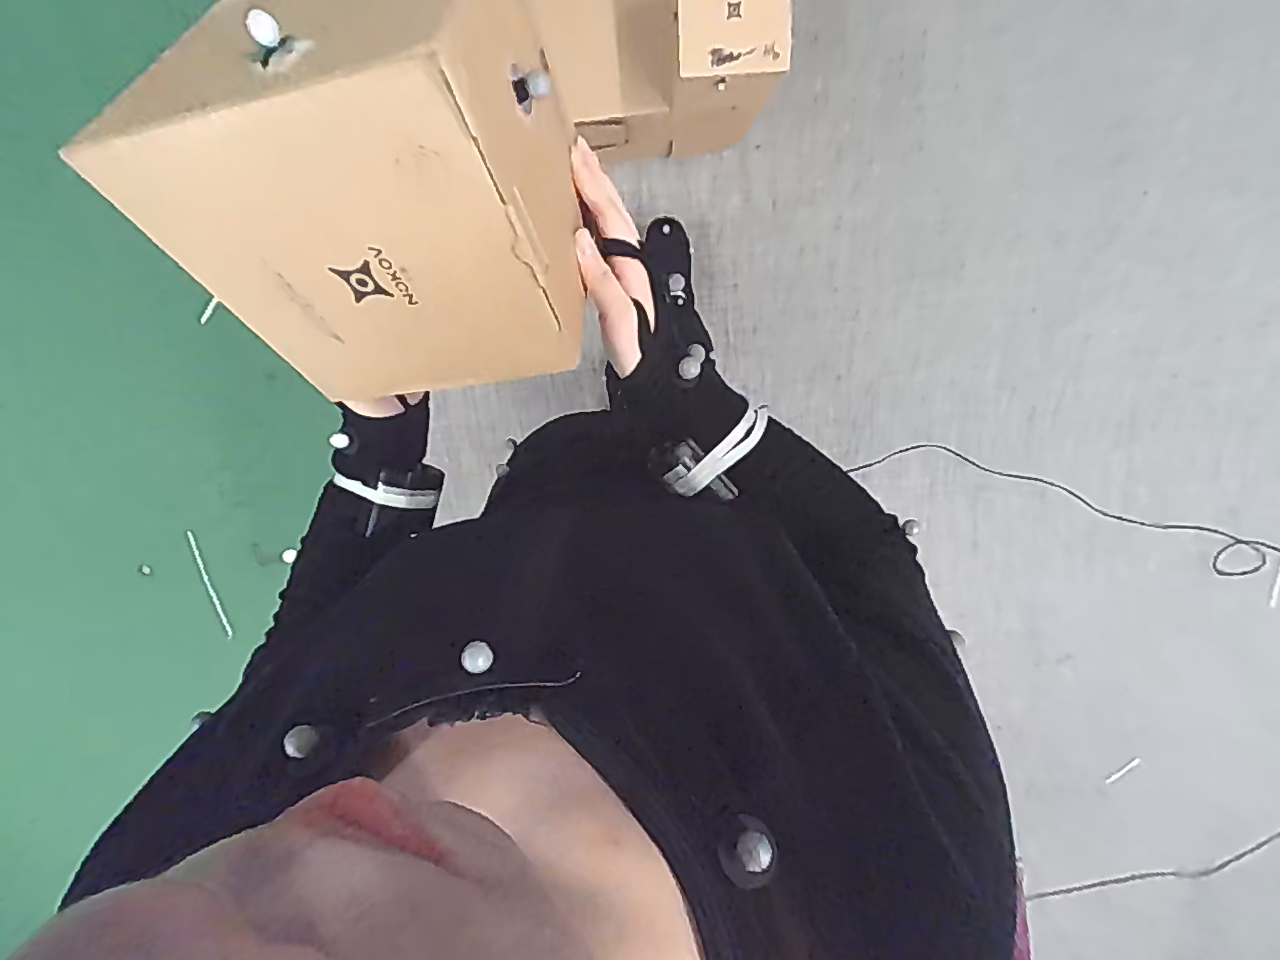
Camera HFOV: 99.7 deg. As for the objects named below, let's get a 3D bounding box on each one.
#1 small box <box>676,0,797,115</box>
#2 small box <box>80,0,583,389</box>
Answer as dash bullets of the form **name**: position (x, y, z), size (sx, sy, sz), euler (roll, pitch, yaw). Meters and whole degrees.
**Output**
- **small box**: position (0.143, -0.706, 0.851), size (0.168, 0.176, 0.179), euler (-1, 108, 1)
- **small box**: position (-0.137, -0.178, 0.319), size (0.179, 0.176, 0.168), euler (-4, 148, 11)
